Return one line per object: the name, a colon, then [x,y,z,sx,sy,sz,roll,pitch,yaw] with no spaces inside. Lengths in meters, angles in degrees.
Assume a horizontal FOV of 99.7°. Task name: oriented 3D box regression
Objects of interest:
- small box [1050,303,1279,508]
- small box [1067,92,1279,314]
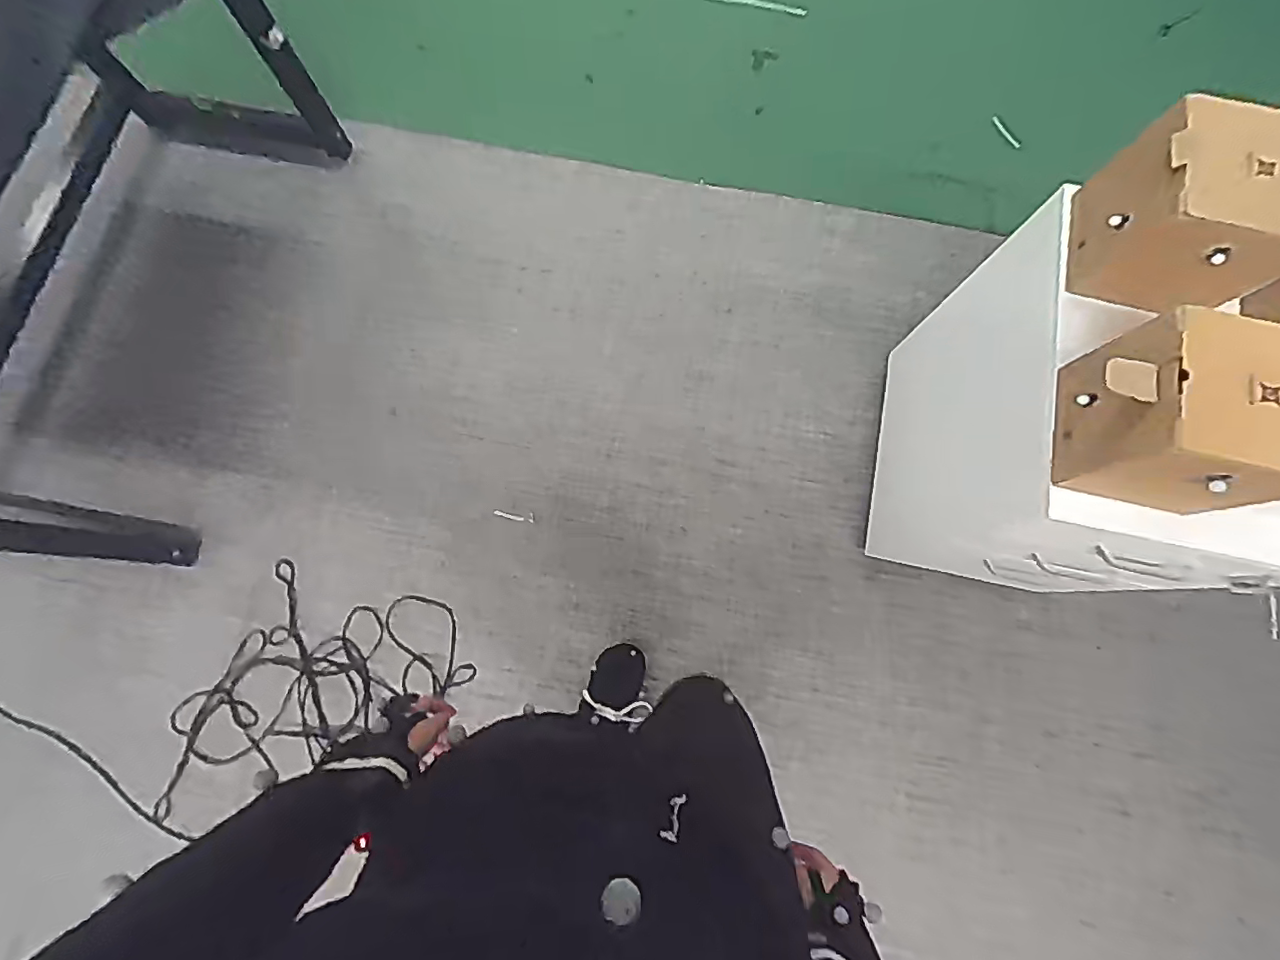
small box: [0.624,-0.071,0.620,0.179,0.176,0.168,13,77,2]
small box: [0.687,-0.333,0.681,0.179,0.176,0.168,13,79,0]
